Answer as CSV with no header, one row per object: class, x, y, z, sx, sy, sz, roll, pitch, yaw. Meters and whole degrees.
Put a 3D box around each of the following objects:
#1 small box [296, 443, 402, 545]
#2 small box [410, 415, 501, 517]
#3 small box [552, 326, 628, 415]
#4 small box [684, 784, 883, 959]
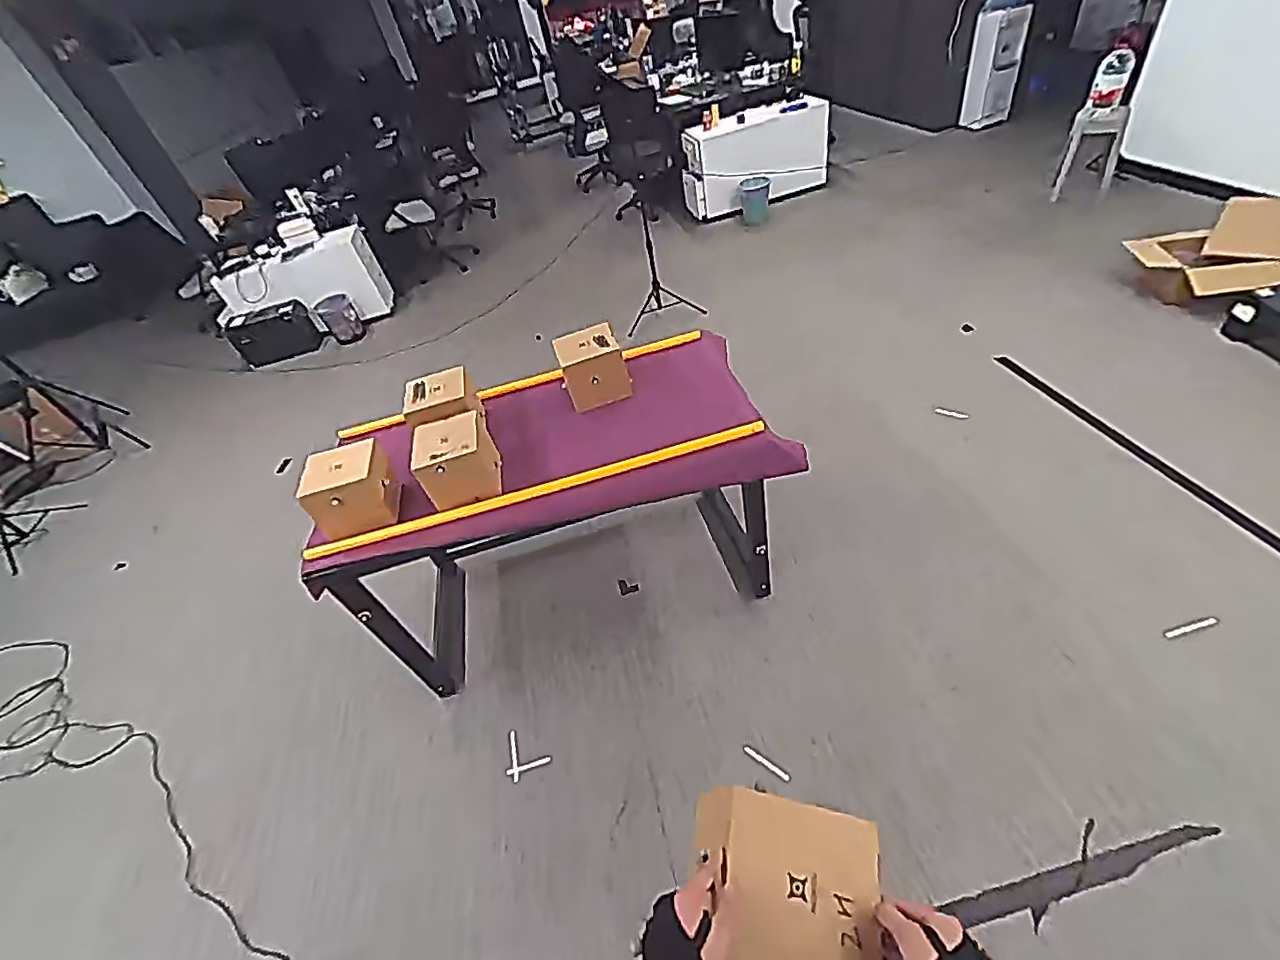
small box,-0.739,0.038,1.397,0.179,0.176,0.168,-18,43,-4
small box,-0.468,-0.036,1.396,0.168,0.176,0.179,-18,43,-1
small box,-0.142,-0.321,1.594,0.179,0.176,0.168,-20,44,-3
small box,0.159,0.477,0.635,0.179,0.176,0.168,15,56,-1
